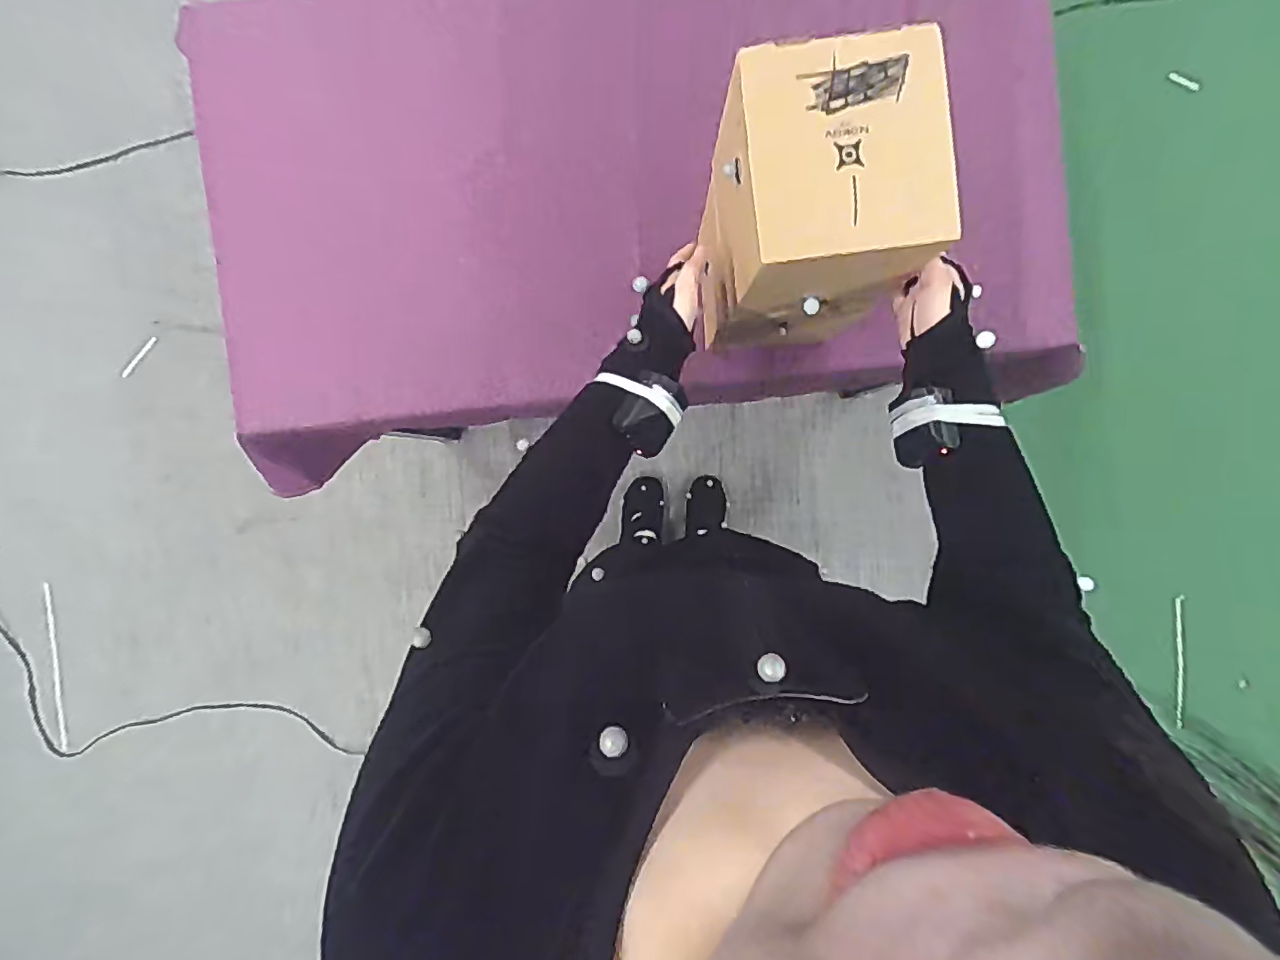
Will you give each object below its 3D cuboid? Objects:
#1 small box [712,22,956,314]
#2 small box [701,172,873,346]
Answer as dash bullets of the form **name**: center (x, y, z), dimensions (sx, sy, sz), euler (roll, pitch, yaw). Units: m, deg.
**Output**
- **small box**: center (0.166, -0.275, 0.515), dimensions (0.168, 0.176, 0.179), euler (-7, 92, 1)
- **small box**: center (0.170, -0.271, 0.681), dimensions (0.179, 0.176, 0.168), euler (-4, 92, 1)
